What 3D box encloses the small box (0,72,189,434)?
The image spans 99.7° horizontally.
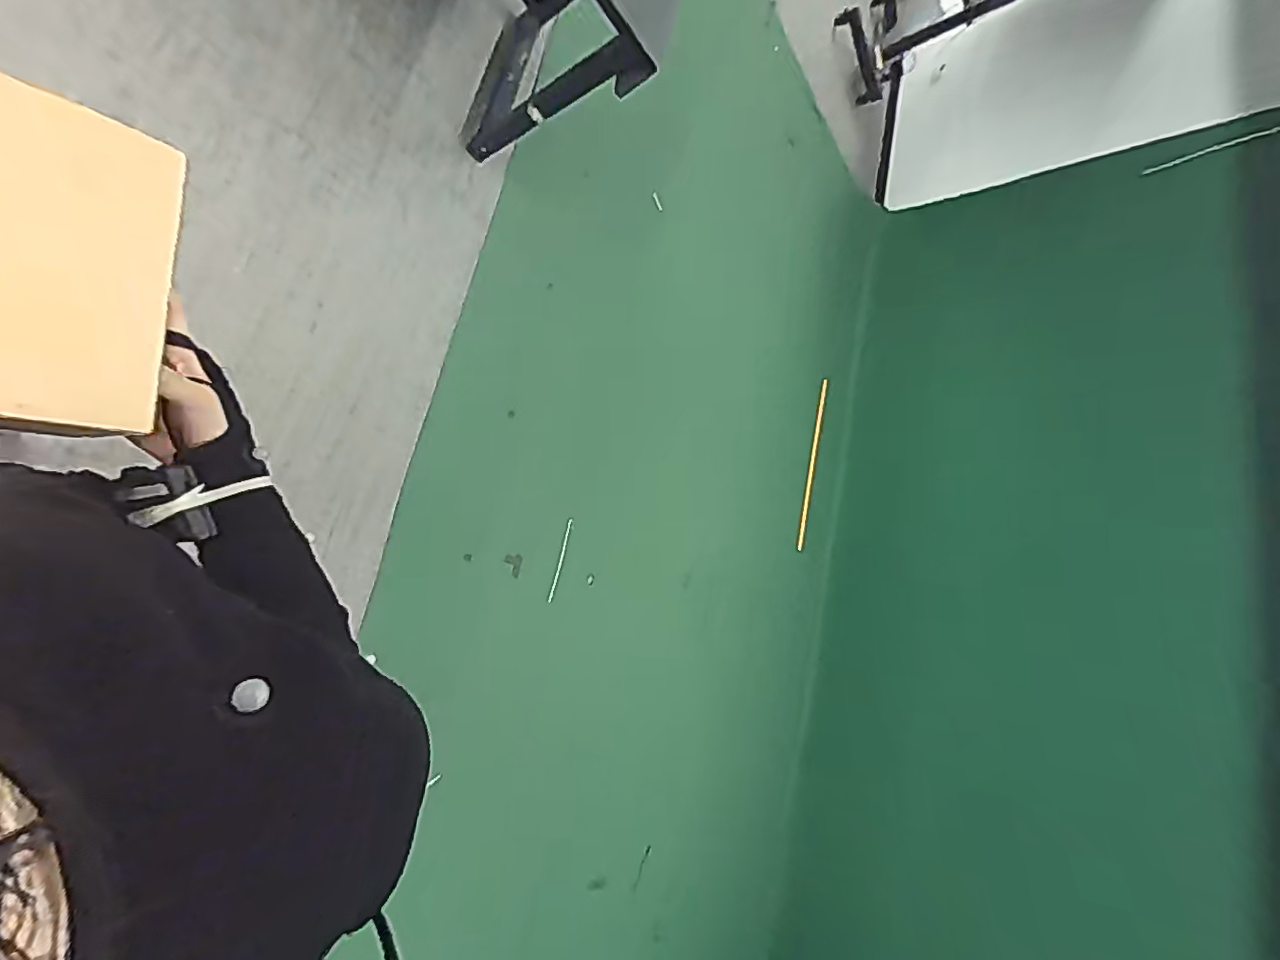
[{"bbox_3d":[-0.389,-0.122,0.291,0.179,0.176,0.168,10,85,-54],"label":"small box"}]
